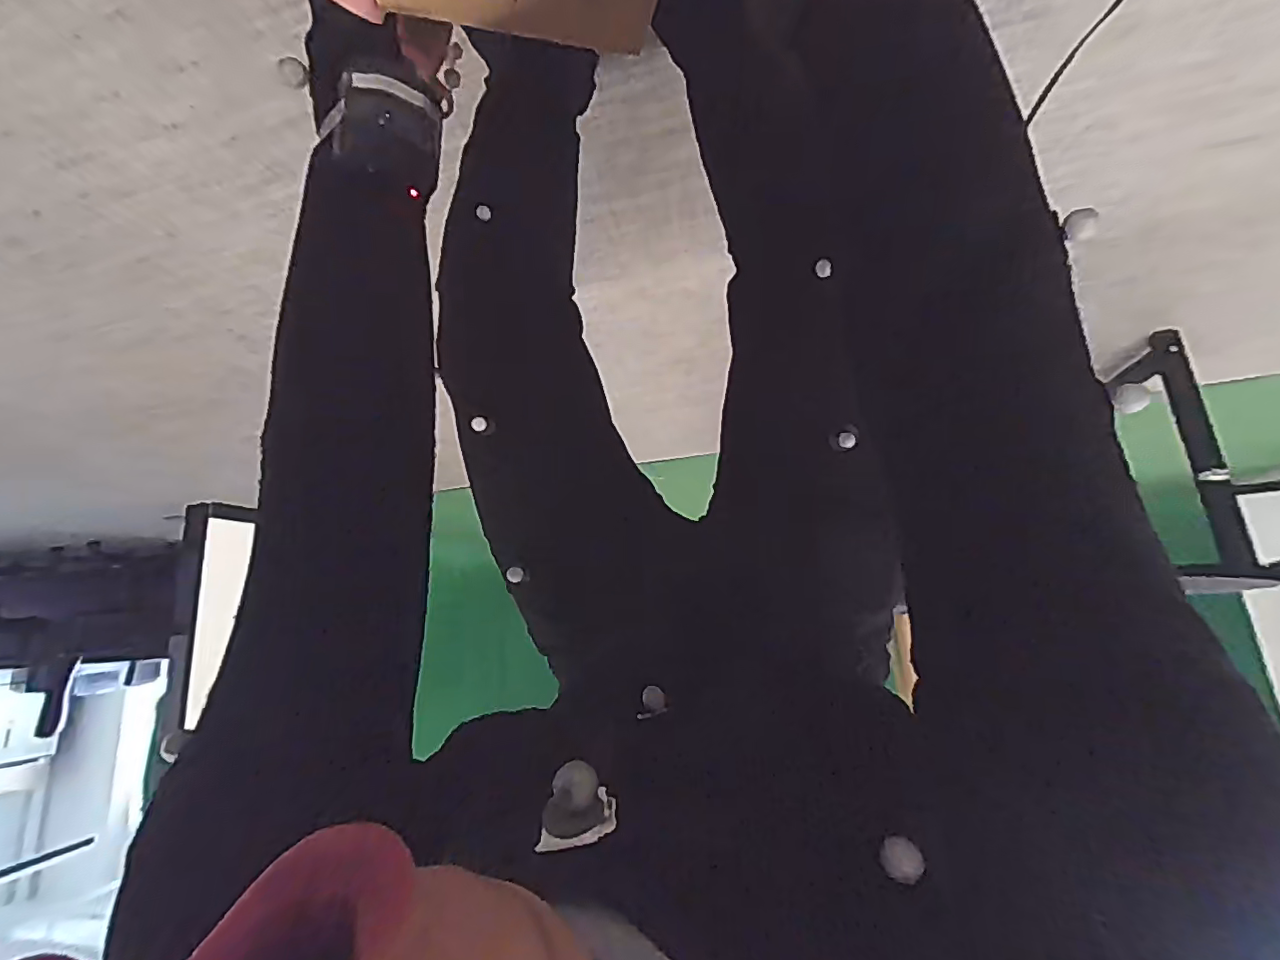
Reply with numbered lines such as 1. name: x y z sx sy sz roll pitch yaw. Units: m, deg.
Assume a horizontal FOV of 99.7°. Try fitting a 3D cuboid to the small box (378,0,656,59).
1. small box: -0.065 -0.381 0.282 0.168 0.176 0.179 -3 169 -16
